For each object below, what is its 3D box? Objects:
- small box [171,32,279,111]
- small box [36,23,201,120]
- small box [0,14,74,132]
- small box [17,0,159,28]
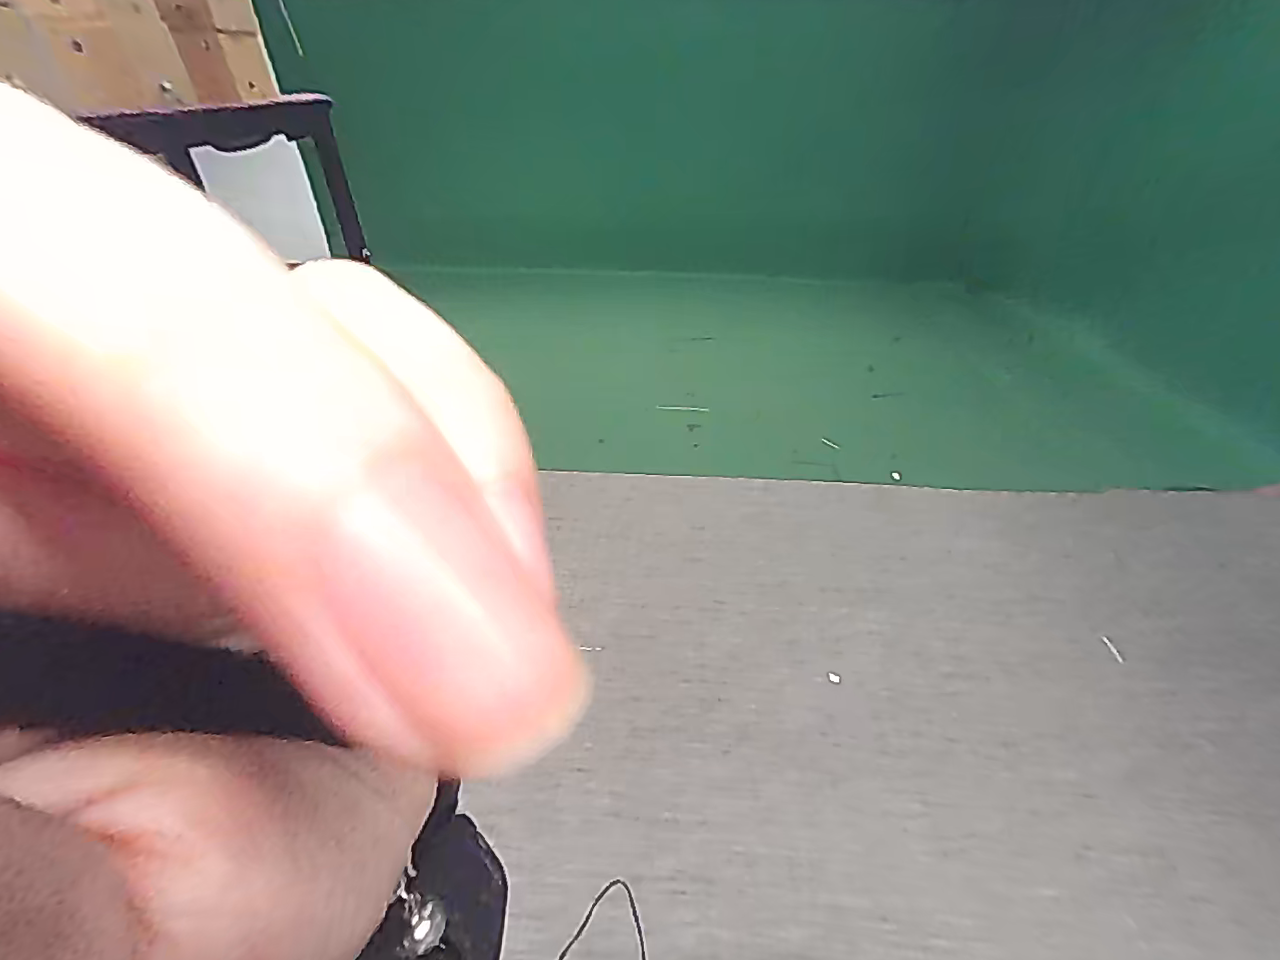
[{"bbox_3d":[-1.165,-1.135,1.508,0.179,0.176,0.168,4,38,3],"label":"small box"},{"bbox_3d":[-1.178,-0.930,1.239,0.179,0.176,0.168,3,38,3],"label":"small box"},{"bbox_3d":[-1.180,-0.705,0.940,0.179,0.176,0.168,1,38,3],"label":"small box"},{"bbox_3d":[-1.190,-1.061,1.141,0.179,0.176,0.168,3,37,3],"label":"small box"}]
